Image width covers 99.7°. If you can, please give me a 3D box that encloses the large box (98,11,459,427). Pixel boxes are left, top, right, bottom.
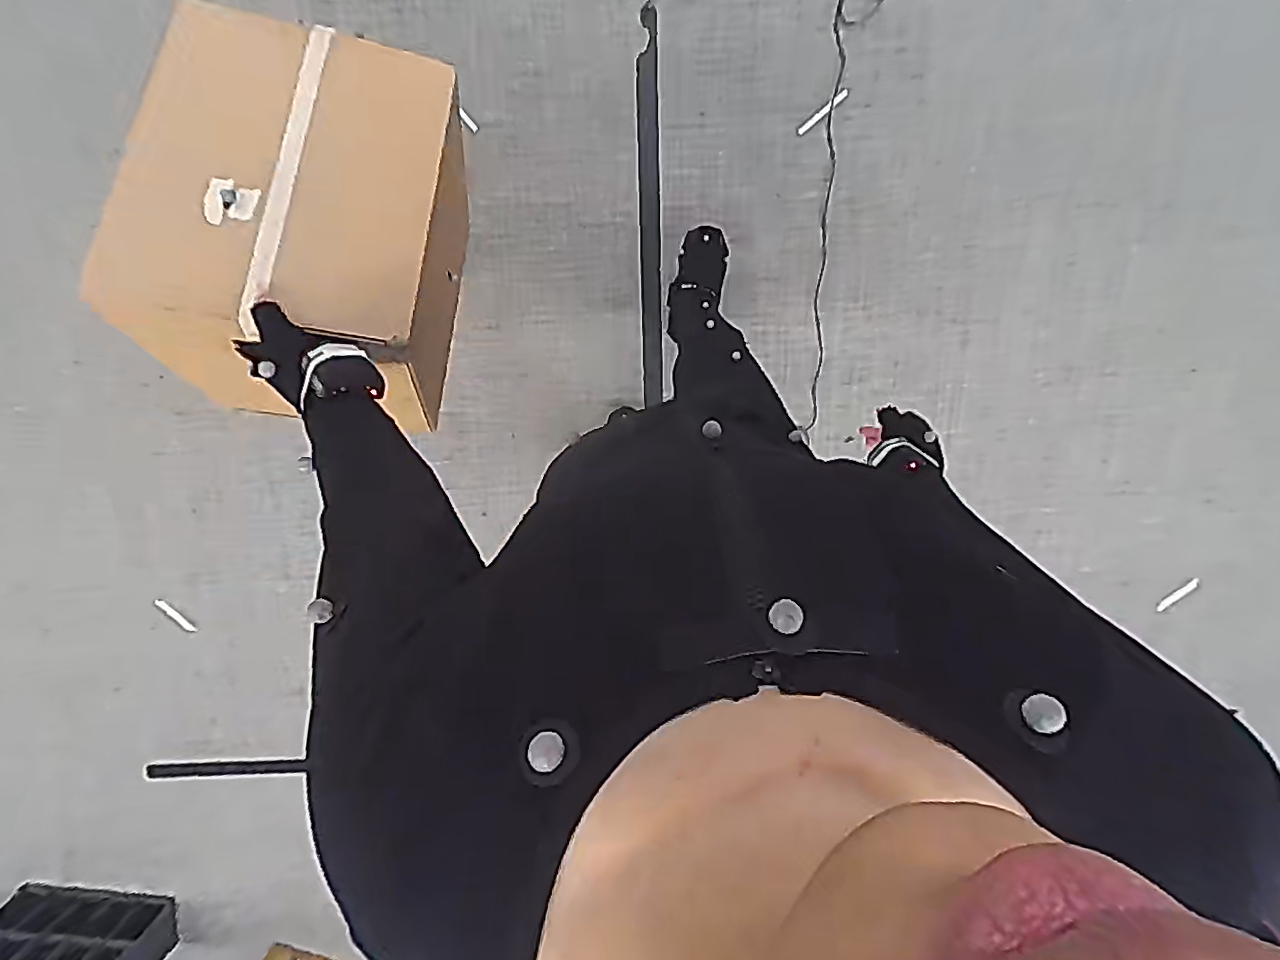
[{"bbox_3d":[-0.445,-0.327,0.778,0.320,0.320,0.408,6,76,-13],"label":"large box"}]
